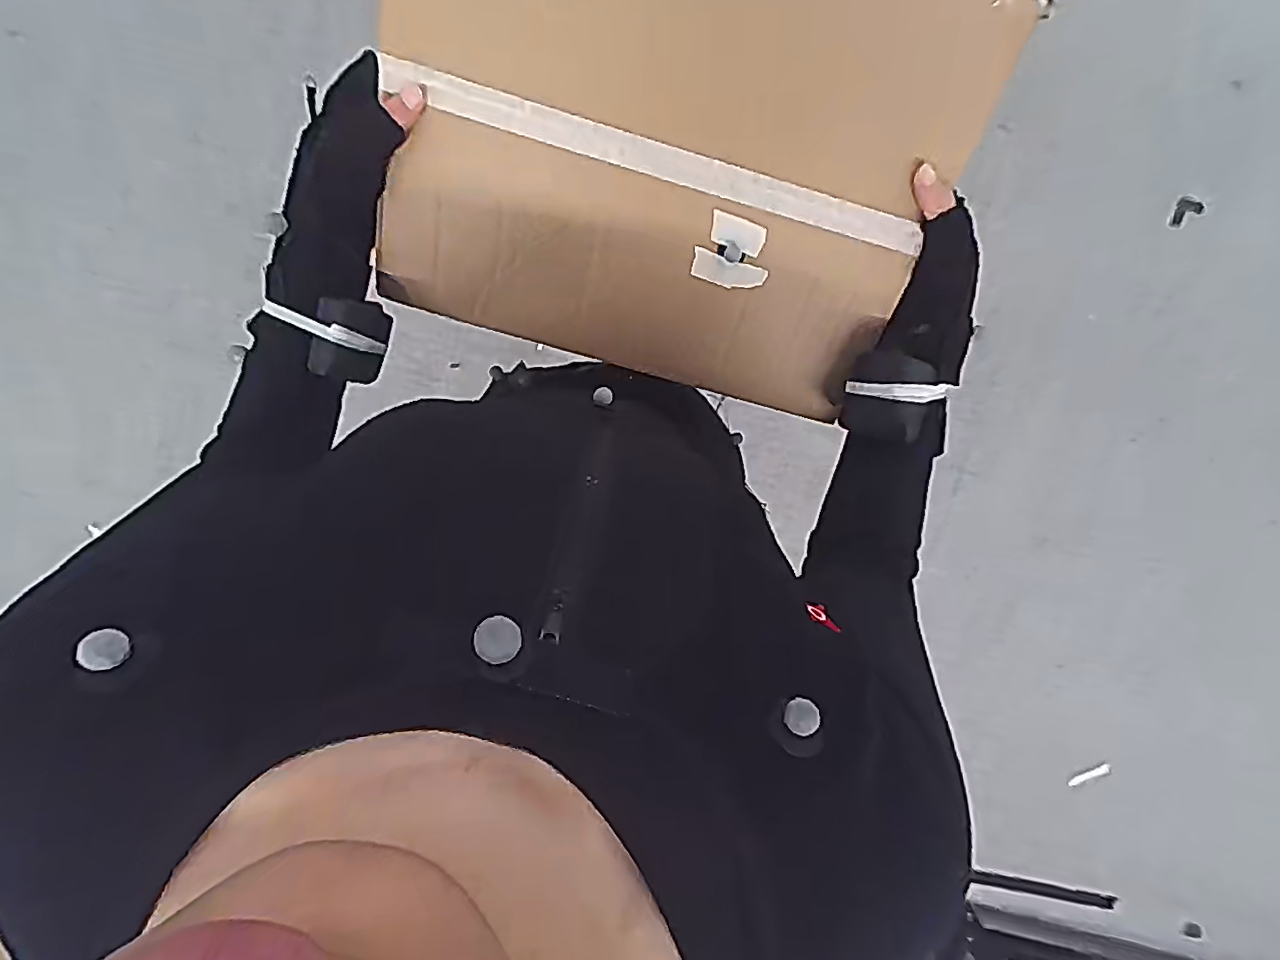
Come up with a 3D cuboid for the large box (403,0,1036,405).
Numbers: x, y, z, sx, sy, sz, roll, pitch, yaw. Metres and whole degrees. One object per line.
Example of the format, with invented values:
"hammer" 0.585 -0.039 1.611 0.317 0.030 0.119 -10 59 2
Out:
"large box" 0.033 -0.316 0.527 0.408 0.320 0.320 15 122 -5
